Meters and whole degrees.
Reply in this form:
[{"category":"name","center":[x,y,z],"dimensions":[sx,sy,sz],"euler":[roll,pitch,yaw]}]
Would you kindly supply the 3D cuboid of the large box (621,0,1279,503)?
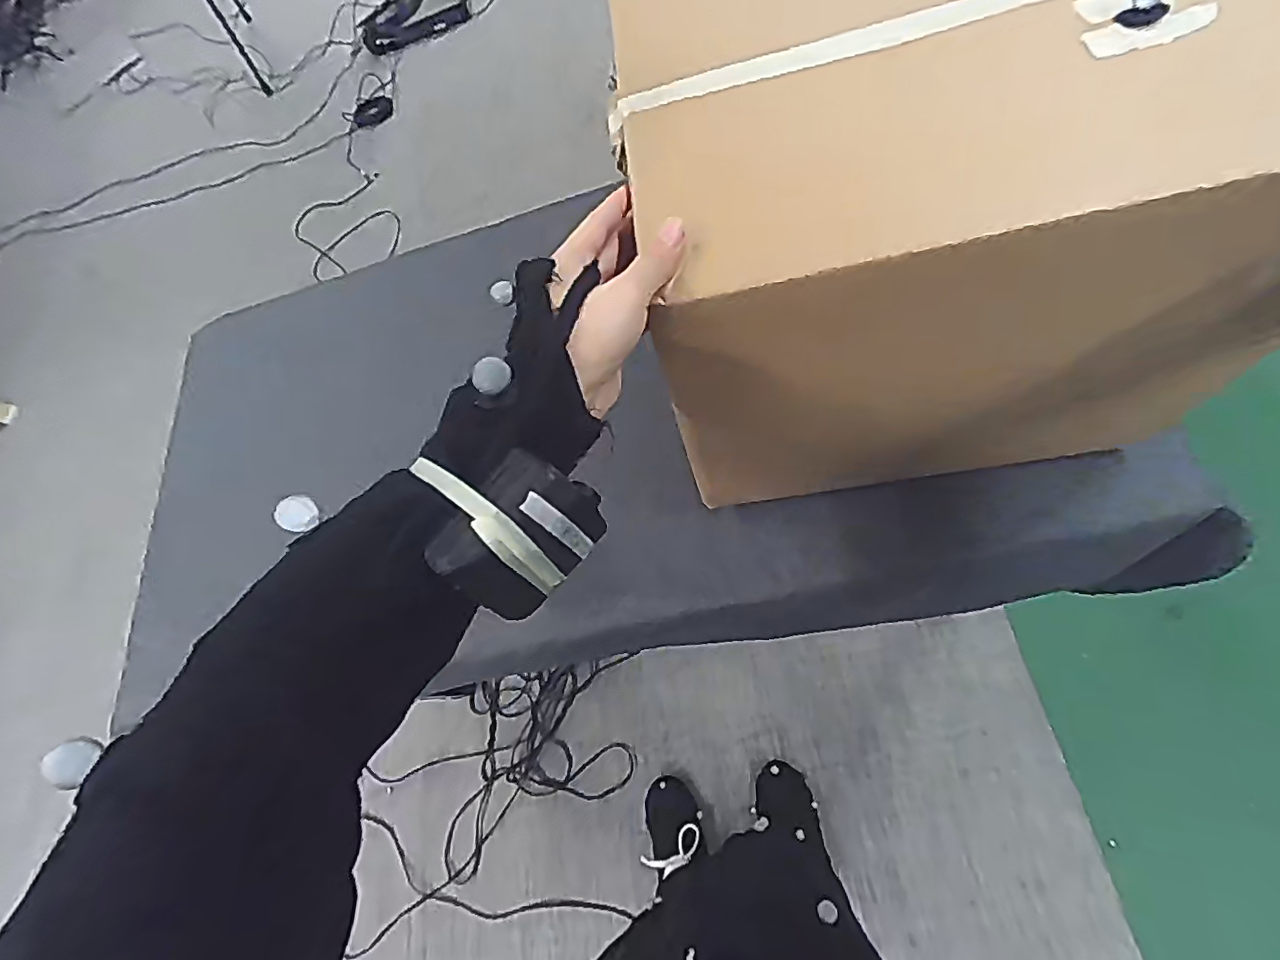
[{"category":"large box","center":[0.220,-0.201,0.450],"dimensions":[0.408,0.320,0.320],"euler":[-9,66,8]}]
